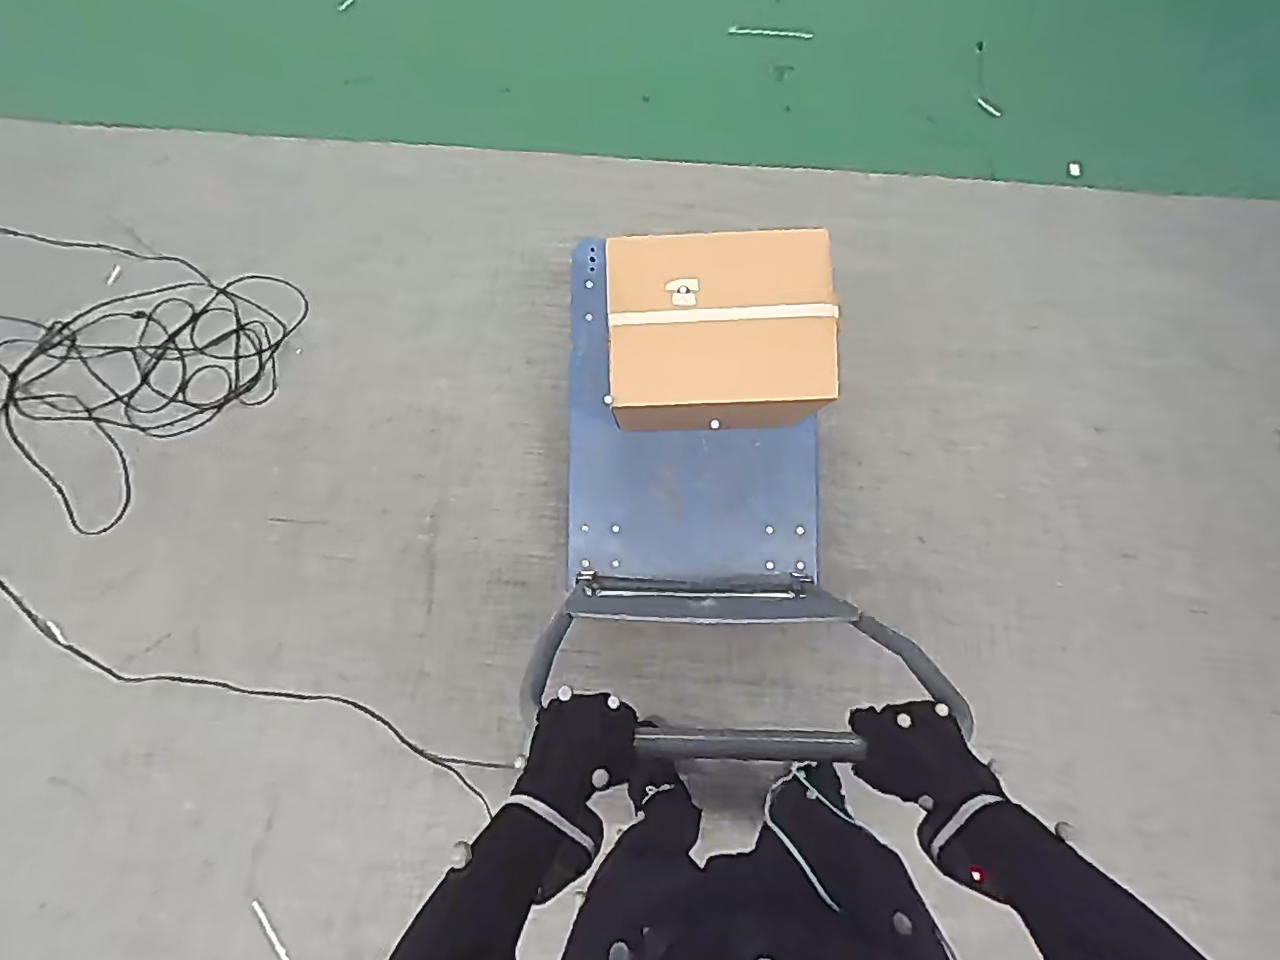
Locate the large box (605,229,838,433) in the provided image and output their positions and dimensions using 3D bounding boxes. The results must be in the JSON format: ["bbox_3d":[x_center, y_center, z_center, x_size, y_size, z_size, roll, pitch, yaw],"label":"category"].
[{"bbox_3d":[0.150,-0.277,1.112,0.408,0.320,0.320,-3,86,2],"label":"large box"}]
